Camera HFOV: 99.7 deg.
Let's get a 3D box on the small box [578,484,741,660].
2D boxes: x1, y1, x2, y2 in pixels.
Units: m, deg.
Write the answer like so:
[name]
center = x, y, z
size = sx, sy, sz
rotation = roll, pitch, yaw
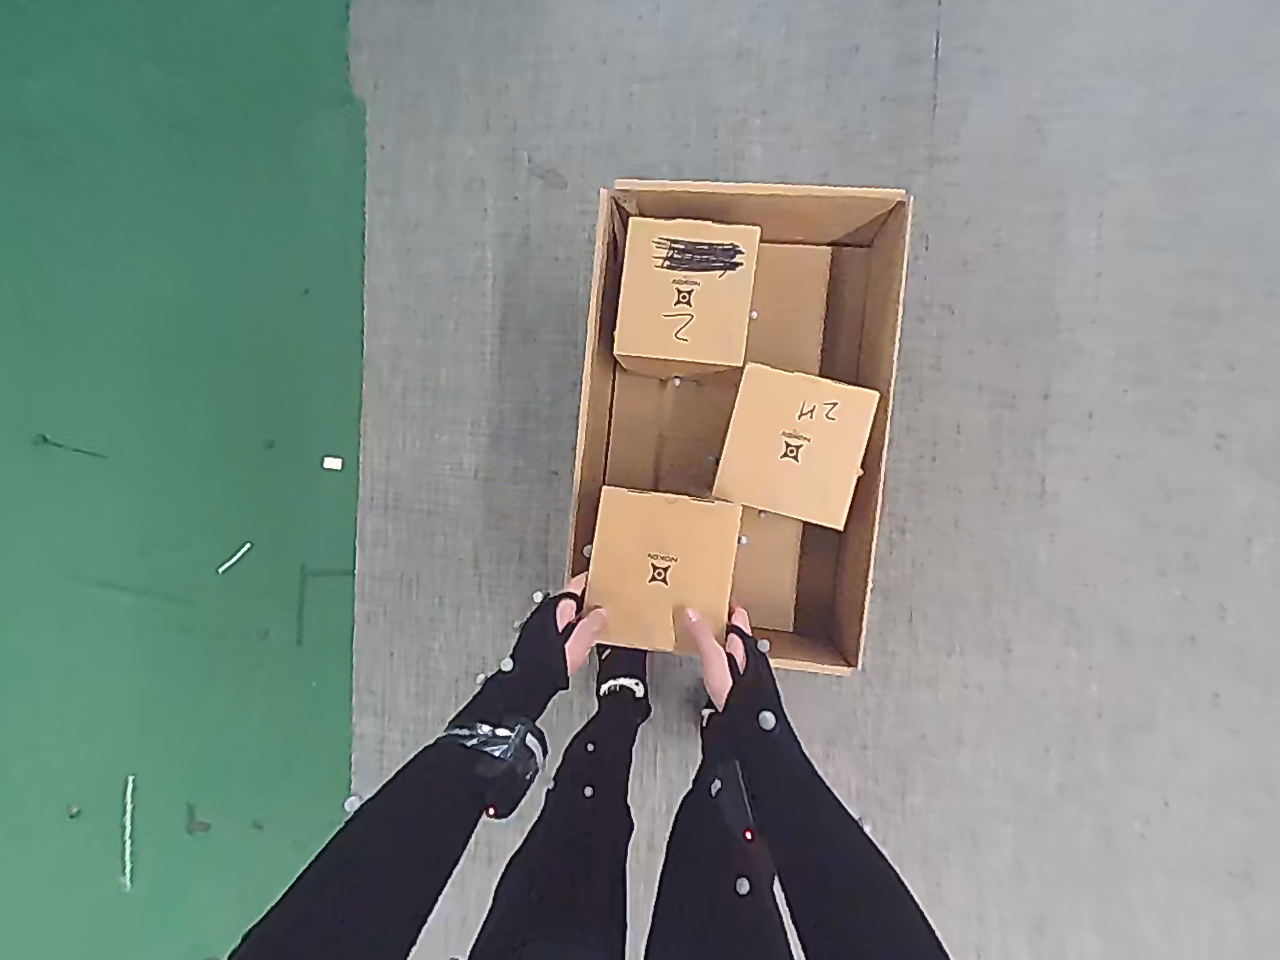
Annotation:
[small box]
center = 0.030, 0.112, 0.689
size = 0.168, 0.176, 0.179
rotation = 8, 82, 7
